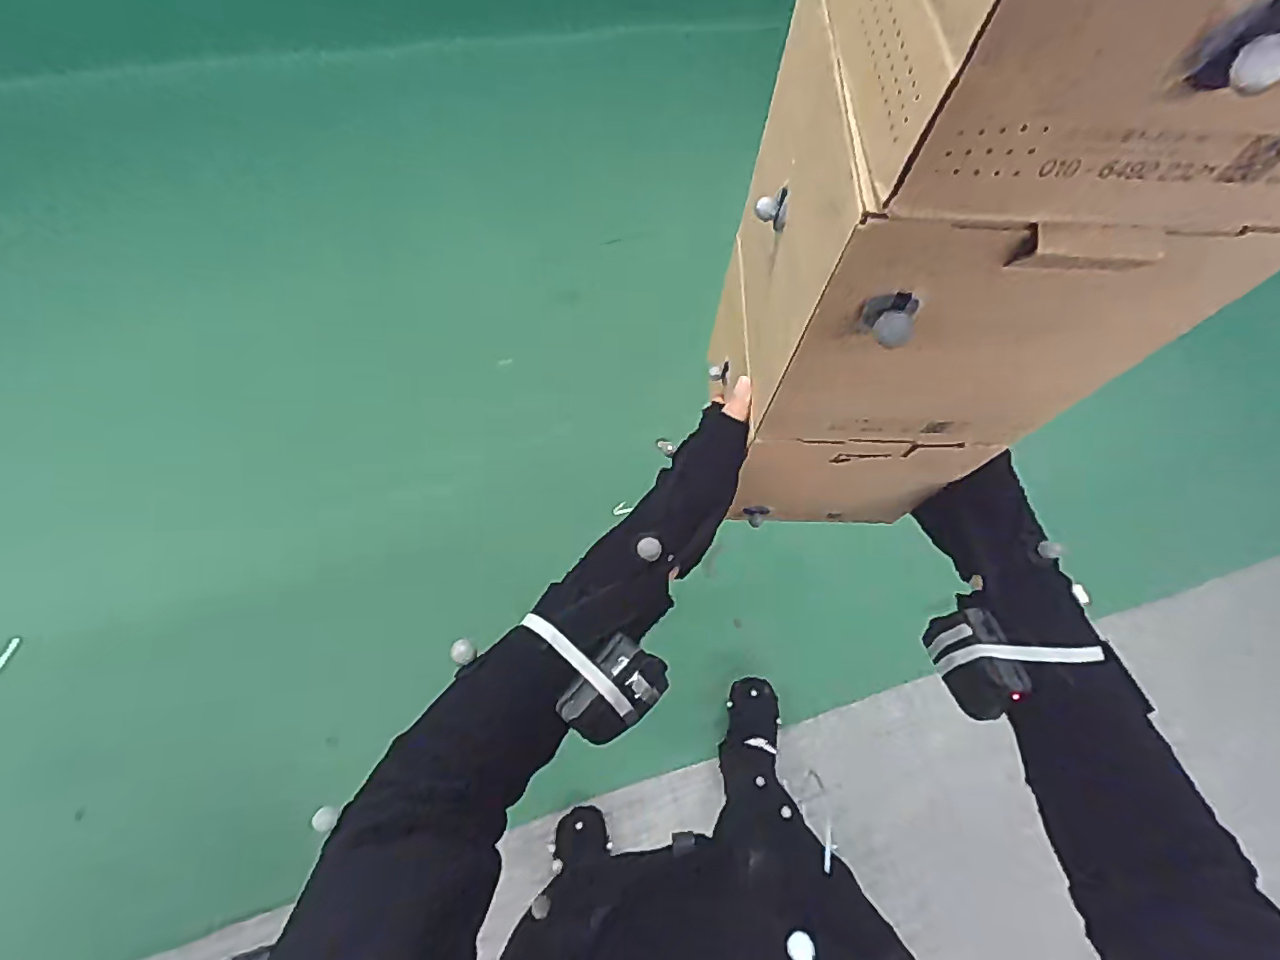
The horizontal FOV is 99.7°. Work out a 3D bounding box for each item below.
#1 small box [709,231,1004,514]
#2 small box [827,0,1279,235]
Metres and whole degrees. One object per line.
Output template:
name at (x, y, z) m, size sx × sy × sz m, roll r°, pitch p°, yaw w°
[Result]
small box at (0.152, -0.075, 0.449) m, size 0.168 × 0.176 × 0.179 m, roll 1°, pitch 68°, yaw -1°
small box at (0.162, -0.198, 0.146) m, size 0.168 × 0.176 × 0.179 m, roll -1°, pitch 69°, yaw -2°
